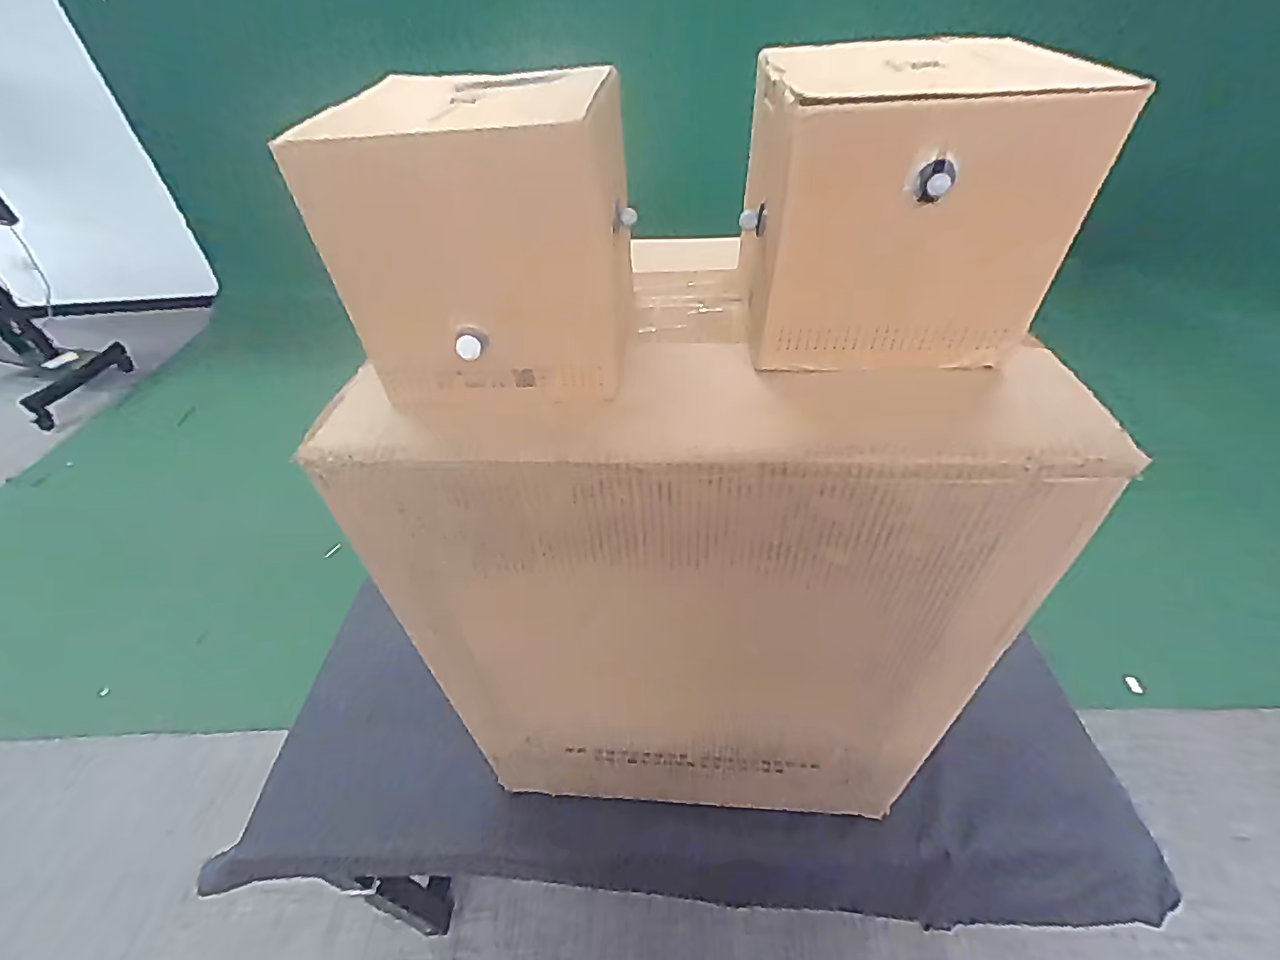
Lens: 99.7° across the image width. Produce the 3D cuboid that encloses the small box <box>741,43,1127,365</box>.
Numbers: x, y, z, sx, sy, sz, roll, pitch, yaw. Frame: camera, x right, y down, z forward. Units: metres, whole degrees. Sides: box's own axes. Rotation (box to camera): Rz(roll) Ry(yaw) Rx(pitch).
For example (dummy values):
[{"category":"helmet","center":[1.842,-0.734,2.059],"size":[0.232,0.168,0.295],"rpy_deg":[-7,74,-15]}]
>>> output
[{"category":"small box","center":[0.169,-0.196,0.390],"size":[0.179,0.176,0.168],"rpy_deg":[1,46,2]}]

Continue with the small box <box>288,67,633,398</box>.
[{"category":"small box","center":[-0.096,-0.178,0.391],"size":[0.168,0.176,0.179],"rpy_deg":[0,45,5]}]
